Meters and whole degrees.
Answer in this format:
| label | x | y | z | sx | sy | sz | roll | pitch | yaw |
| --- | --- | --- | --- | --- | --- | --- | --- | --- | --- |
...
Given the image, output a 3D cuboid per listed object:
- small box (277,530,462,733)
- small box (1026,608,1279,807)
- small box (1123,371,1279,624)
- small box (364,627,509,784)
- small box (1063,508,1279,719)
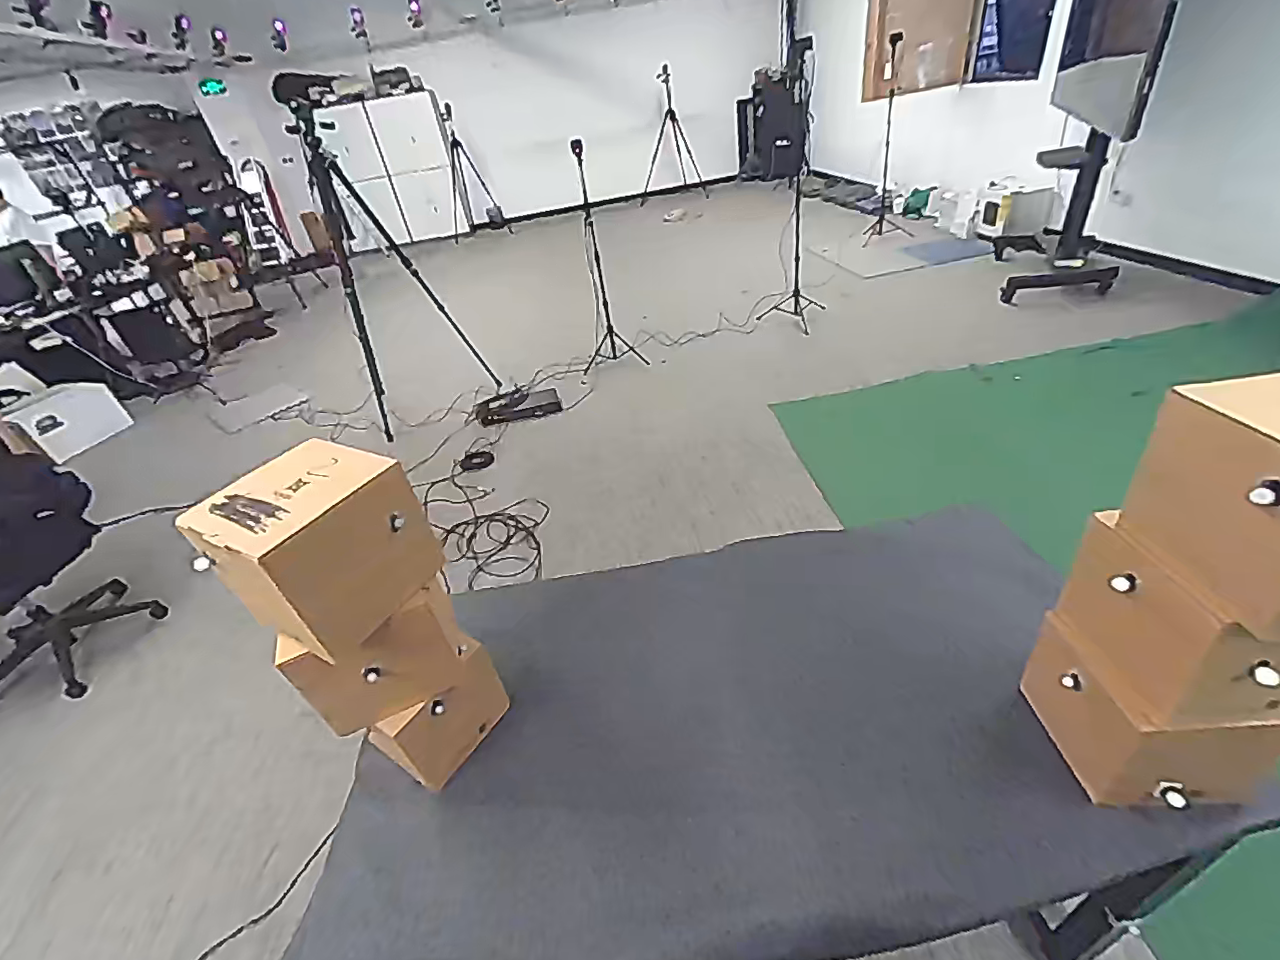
| label | x | y | z | sx | sy | sz | roll | pitch | yaw |
| --- | --- | --- | --- | --- | --- | --- | --- | --- | --- |
| small box | -0.361 | 0.206 | 0.747 | 0.179 | 0.176 | 0.168 | -22 | 38 | -15 |
| small box | 0.626 | 0.276 | 0.677 | 0.168 | 0.176 | 0.179 | -7 | 33 | 7 |
| small box | 0.597 | 0.014 | 0.481 | 0.168 | 0.176 | 0.179 | -7 | 32 | 6 |
| small box | -0.337 | 0.335 | 0.848 | 0.179 | 0.176 | 0.168 | 16 | 43 | 31 |
| small box | 0.615 | 0.139 | 0.589 | 0.168 | 0.176 | 0.179 | -8 | 32 | 5 |
